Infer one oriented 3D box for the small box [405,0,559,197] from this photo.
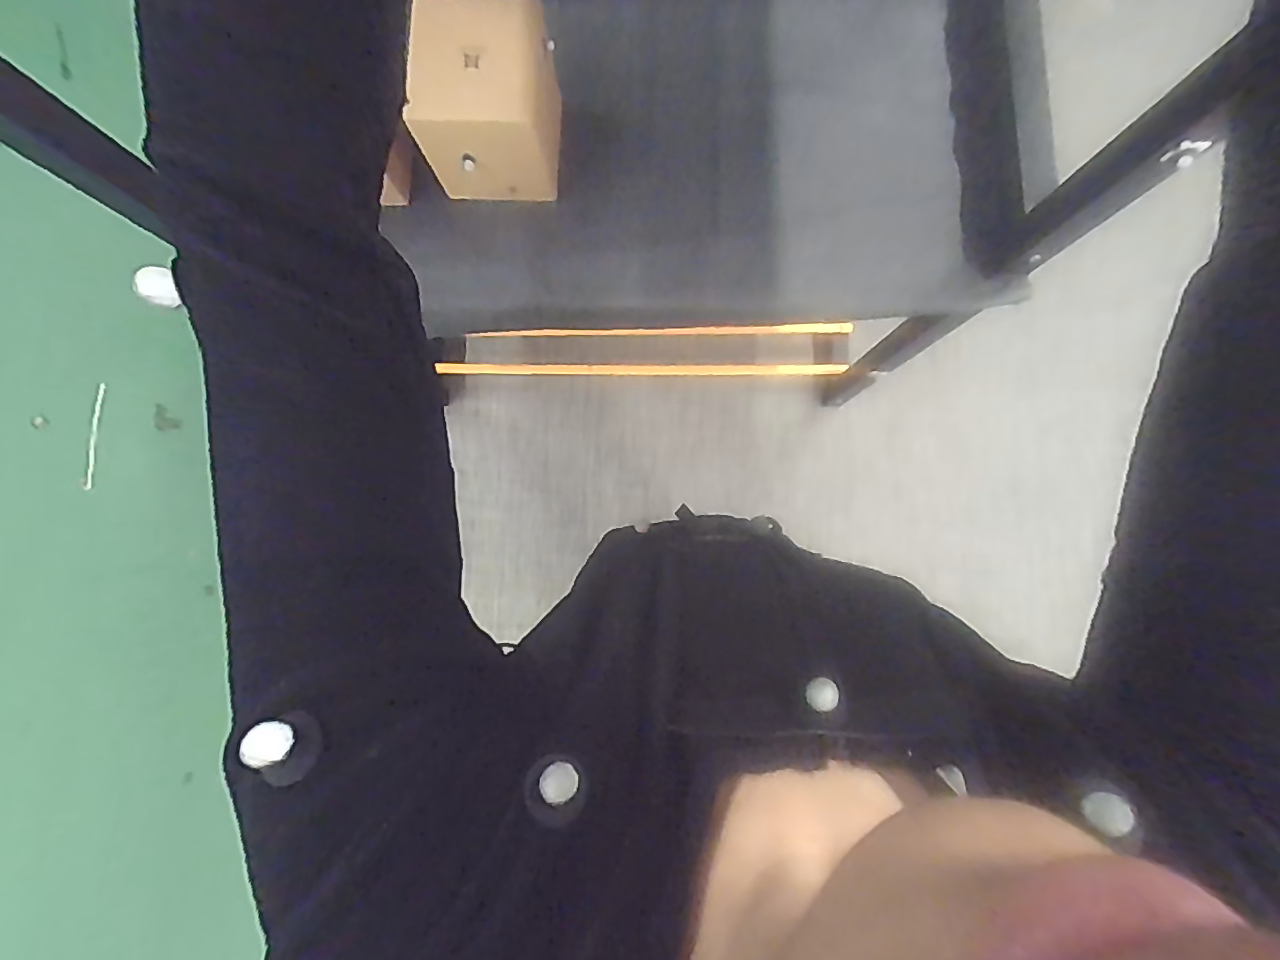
[{"bbox_3d":[-0.210,-0.528,0.764,0.168,0.176,0.179,2,83,1],"label":"small box"}]
